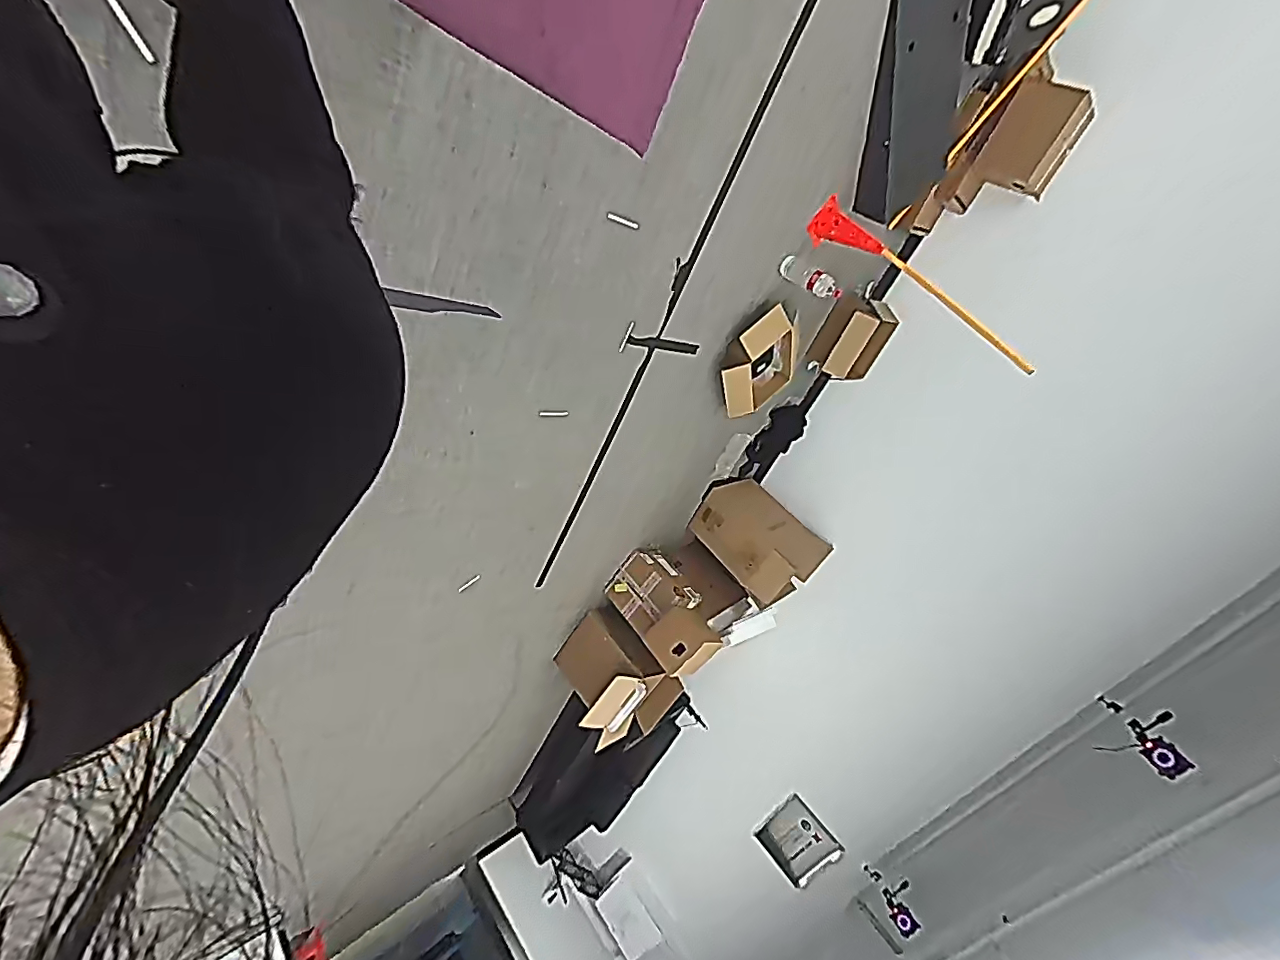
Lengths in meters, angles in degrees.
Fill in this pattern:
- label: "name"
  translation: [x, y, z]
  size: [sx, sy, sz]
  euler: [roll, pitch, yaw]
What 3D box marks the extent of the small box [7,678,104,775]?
- label: "small box"
  translation: [-1.705, 0.707, 1.580]
  size: [0.168, 0.176, 0.179]
  euler: [-12, 137, -46]
